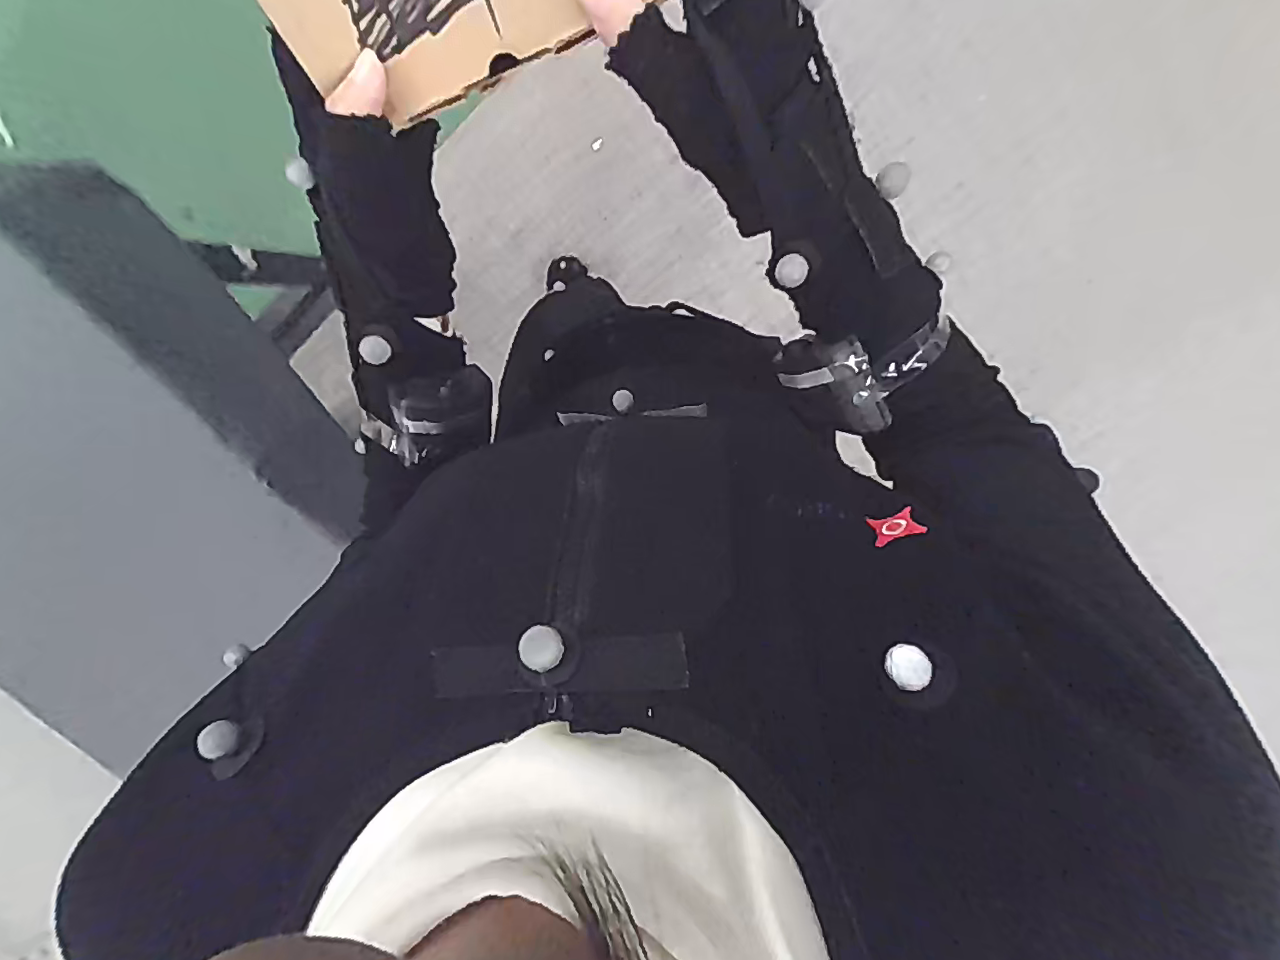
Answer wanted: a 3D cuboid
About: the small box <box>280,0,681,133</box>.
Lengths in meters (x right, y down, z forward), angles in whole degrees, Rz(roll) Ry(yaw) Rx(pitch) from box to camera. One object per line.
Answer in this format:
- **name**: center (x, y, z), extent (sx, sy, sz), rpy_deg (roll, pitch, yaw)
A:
- **small box**: center (-0.078, -0.295, 0.232), extent (0.168, 0.176, 0.179), rpy_deg (-11, 136, 17)
